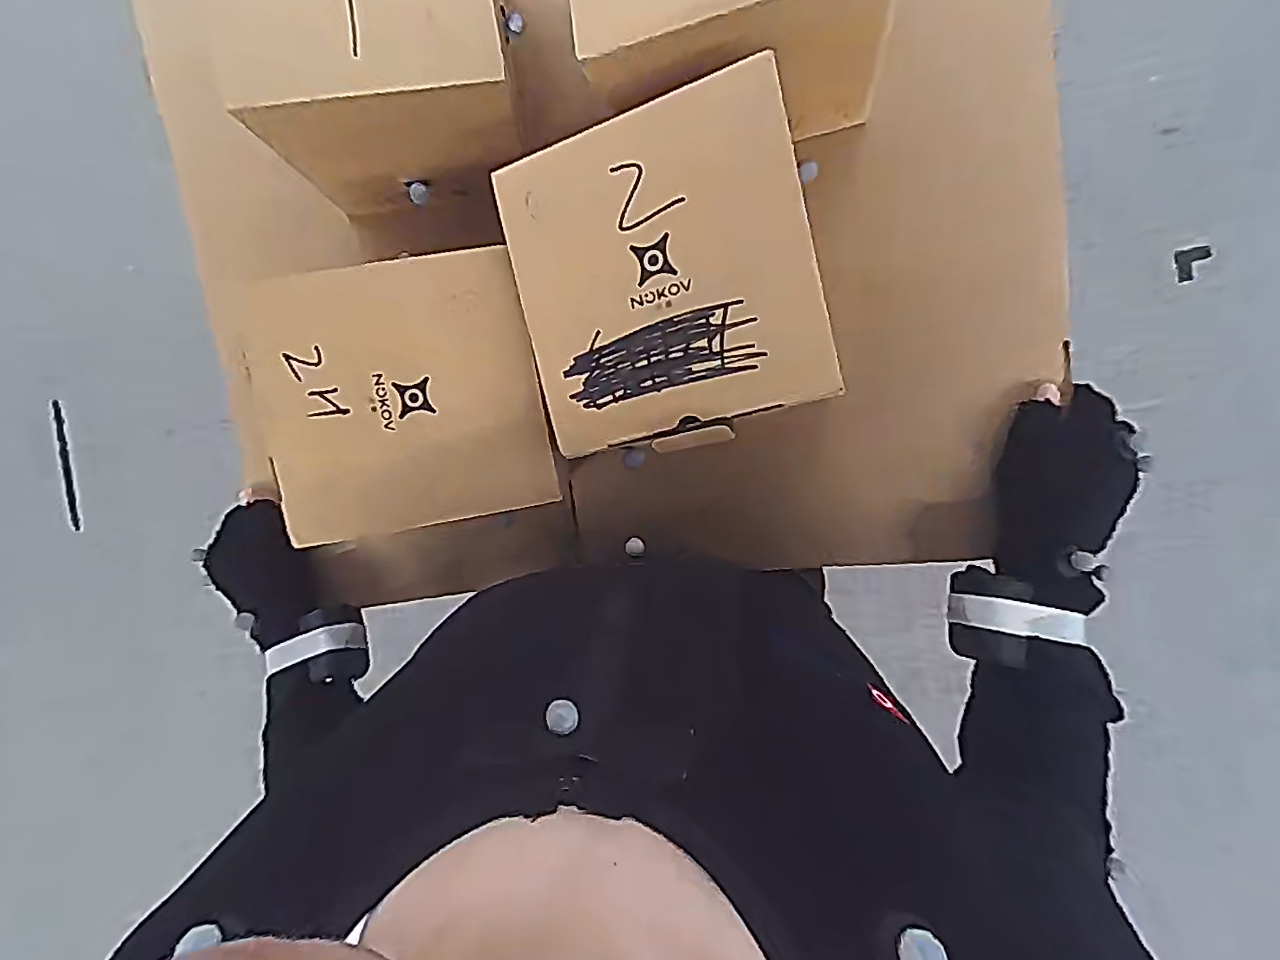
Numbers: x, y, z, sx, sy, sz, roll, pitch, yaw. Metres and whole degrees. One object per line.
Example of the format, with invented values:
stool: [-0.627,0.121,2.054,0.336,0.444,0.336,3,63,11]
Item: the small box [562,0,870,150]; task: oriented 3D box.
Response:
small box: [0.051,-0.339,0.339,0.168,0.176,0.179,-5,95,17]
